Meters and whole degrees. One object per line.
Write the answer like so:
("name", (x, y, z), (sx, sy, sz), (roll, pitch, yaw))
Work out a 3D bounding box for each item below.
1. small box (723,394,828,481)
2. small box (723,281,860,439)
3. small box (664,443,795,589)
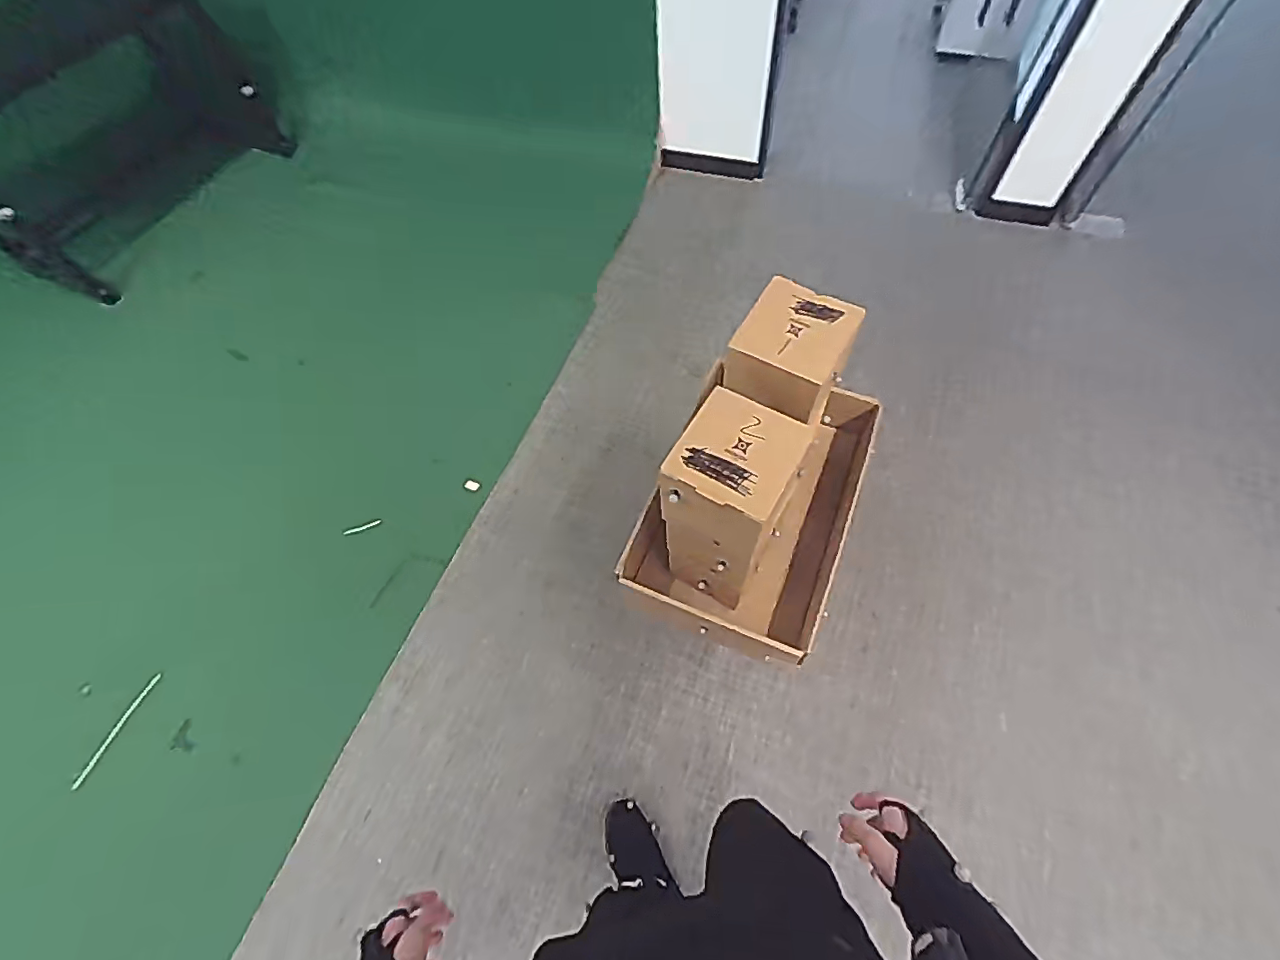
("small box", (0.269, -0.125, 1.093), (0.168, 0.176, 0.179), (19, 66, 13))
("small box", (0.255, -0.206, 0.950), (0.168, 0.176, 0.179), (27, 69, 18))
("small box", (0.160, 0.072, 0.989), (0.168, 0.176, 0.179), (30, 66, 18))
